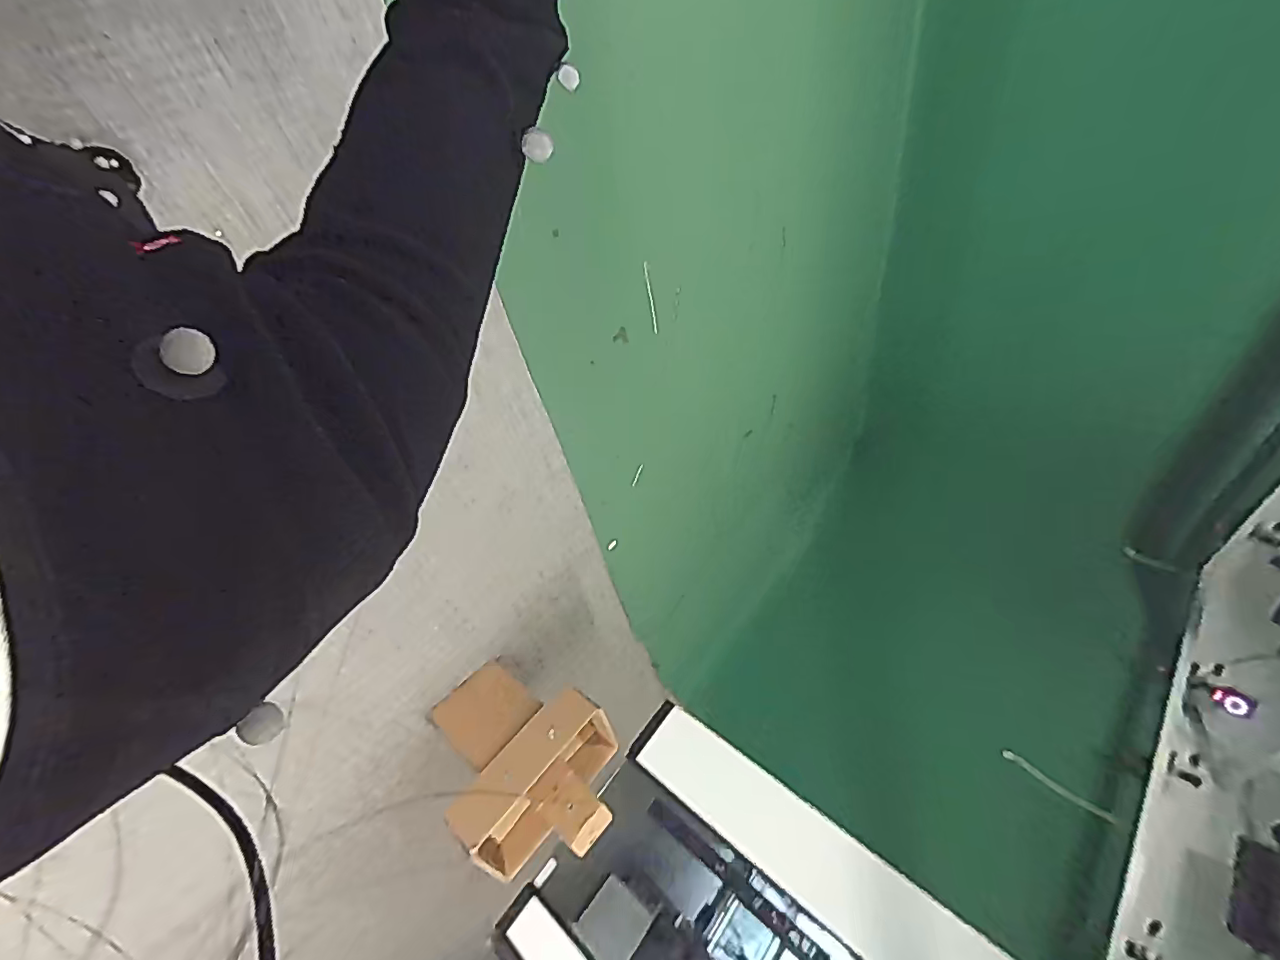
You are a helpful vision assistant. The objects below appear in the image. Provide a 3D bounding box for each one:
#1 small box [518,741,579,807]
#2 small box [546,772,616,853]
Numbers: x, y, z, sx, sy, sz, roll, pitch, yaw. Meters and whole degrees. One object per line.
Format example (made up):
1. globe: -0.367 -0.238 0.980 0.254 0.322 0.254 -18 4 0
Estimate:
1. small box: -0.337 1.132 2.054 0.168 0.176 0.179 -42 142 -26
2. small box: -0.218 1.201 1.967 0.168 0.176 0.179 -41 139 -27
